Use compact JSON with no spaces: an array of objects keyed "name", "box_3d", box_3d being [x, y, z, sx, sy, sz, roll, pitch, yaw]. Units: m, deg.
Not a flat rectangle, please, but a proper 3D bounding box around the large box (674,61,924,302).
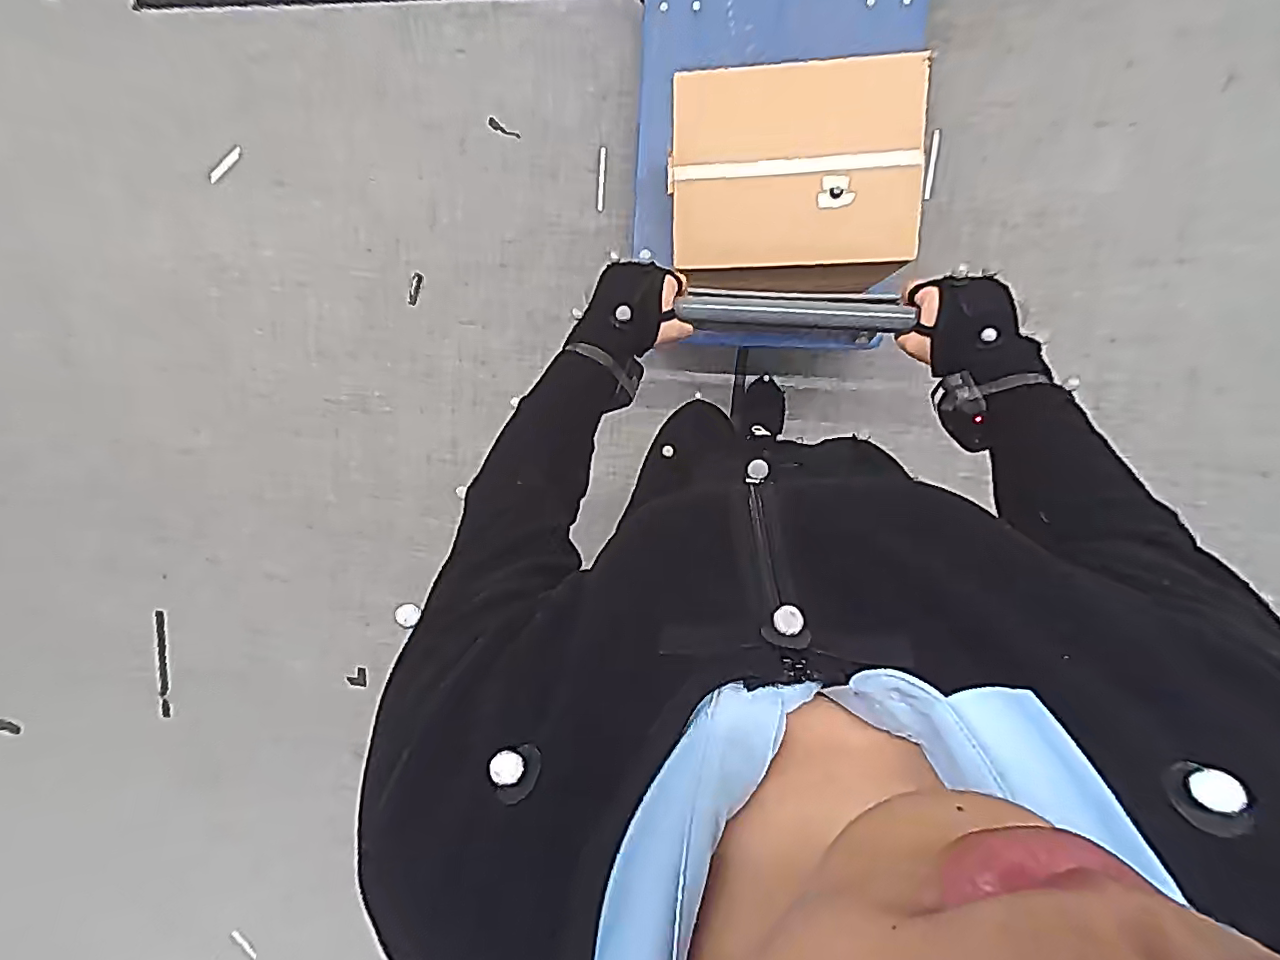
[{"name":"large box","box_3d":[0.275,-0.539,1.052,0.408,0.320,0.320,0,100,6]}]
